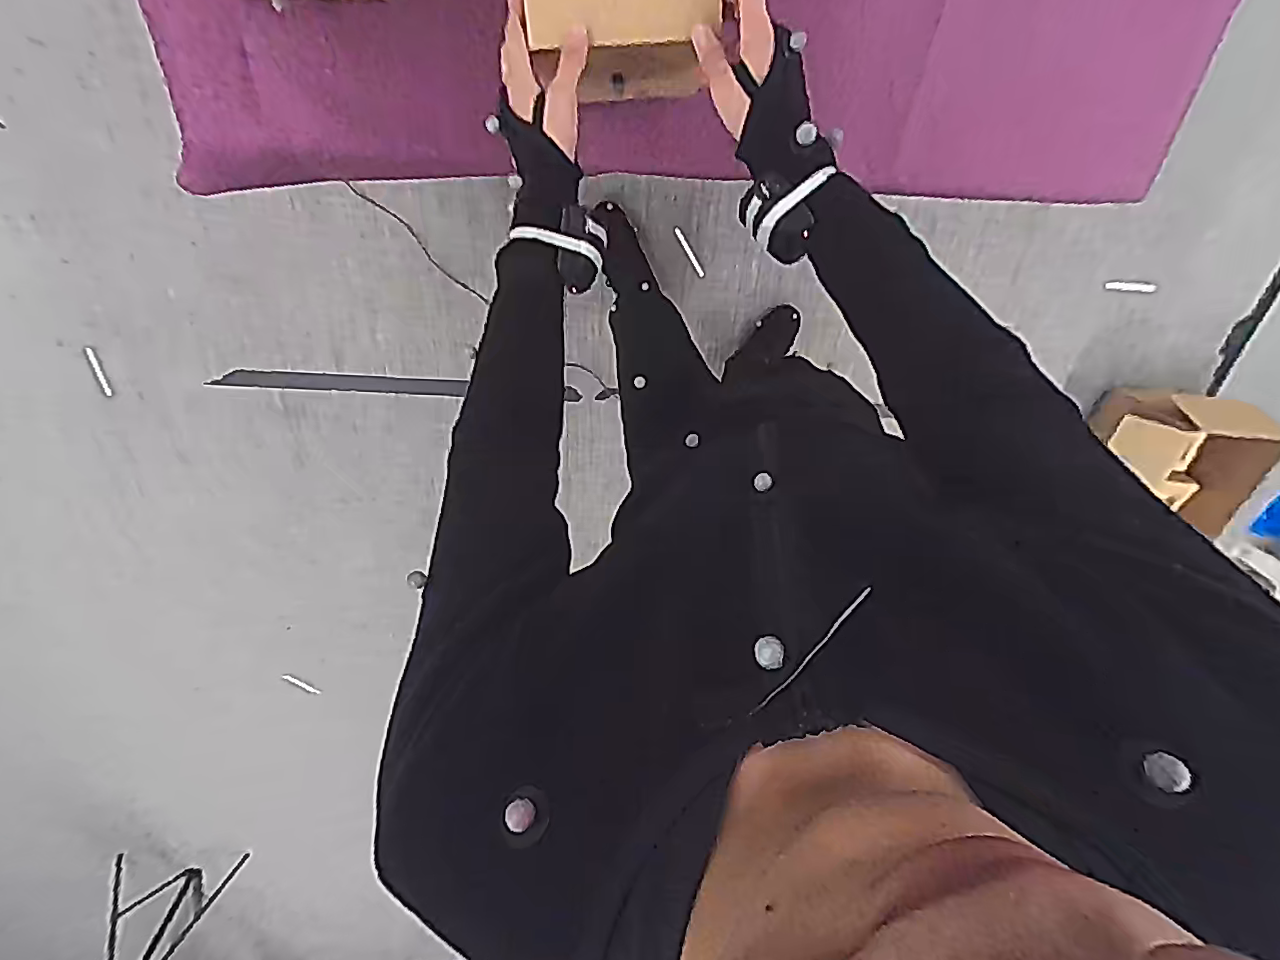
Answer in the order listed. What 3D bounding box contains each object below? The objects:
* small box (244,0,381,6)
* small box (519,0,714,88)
[{"bbox_3d":[-0.340,-0.537,0.457,0.168,0.176,0.179,-2,122,-3],"label":"small box"},{"bbox_3d":[-0.025,-0.485,0.499,0.168,0.176,0.179,-4,112,-2],"label":"small box"}]
